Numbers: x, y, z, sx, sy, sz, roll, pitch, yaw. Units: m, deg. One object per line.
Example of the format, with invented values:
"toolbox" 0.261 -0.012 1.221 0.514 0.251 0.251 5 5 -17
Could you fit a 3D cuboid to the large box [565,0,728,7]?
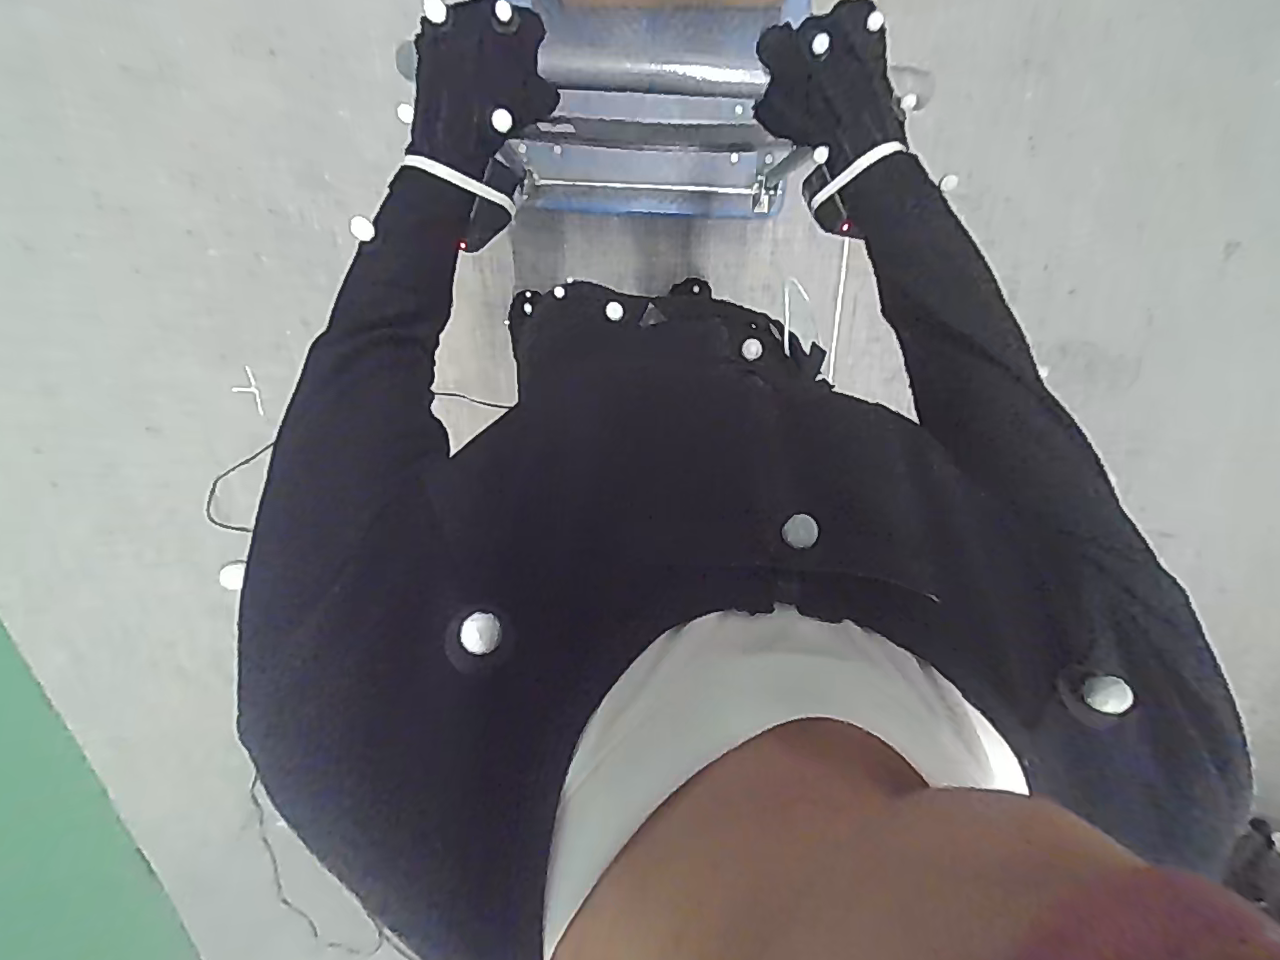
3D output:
"large box" 0.058 -0.947 0.792 0.408 0.320 0.320 -2 114 1
